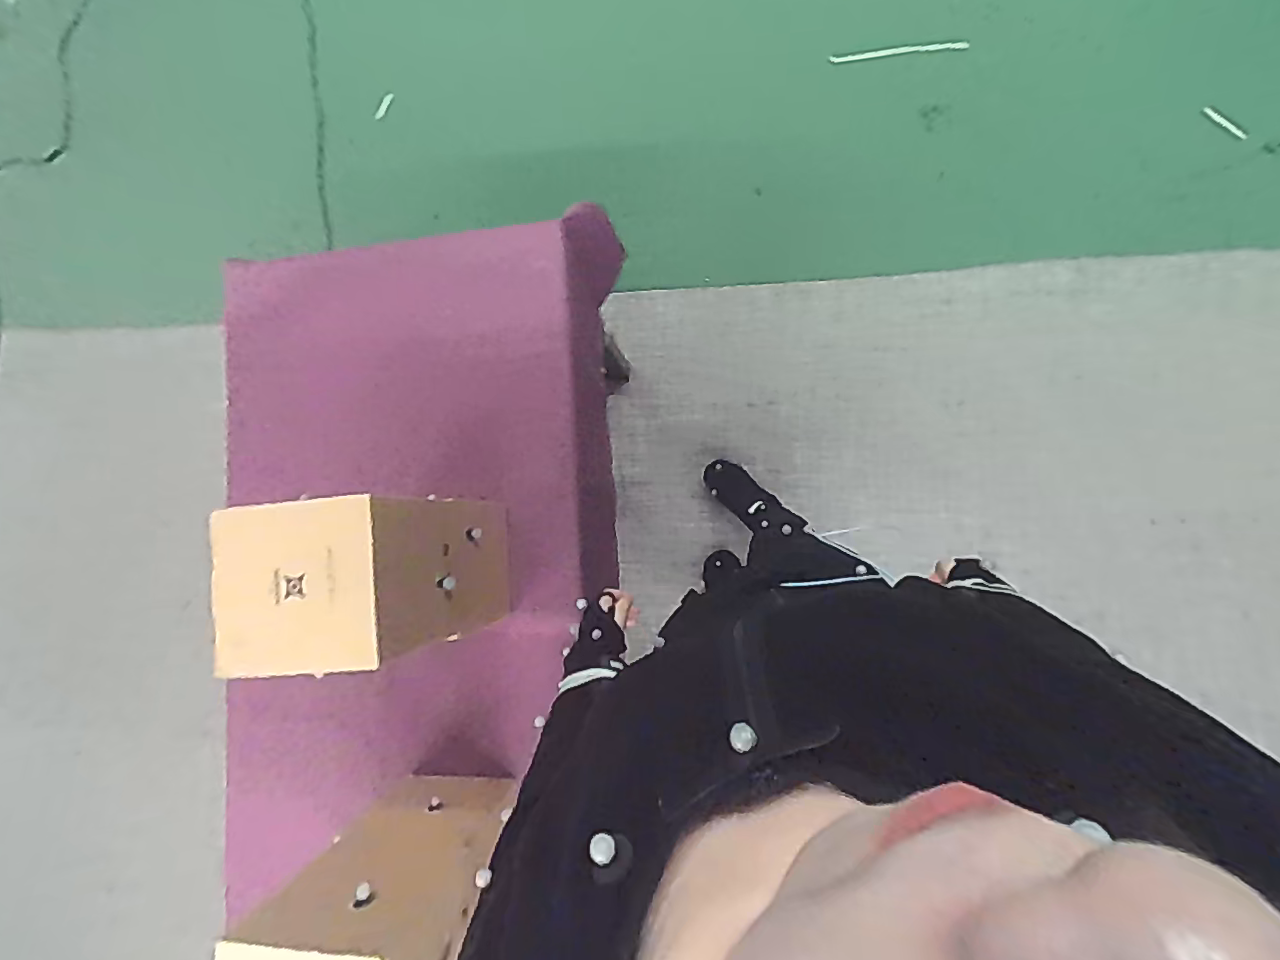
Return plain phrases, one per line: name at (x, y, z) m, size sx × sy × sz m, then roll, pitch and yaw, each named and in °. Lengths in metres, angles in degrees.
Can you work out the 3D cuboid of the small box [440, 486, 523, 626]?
small box at (-0.274, 0.104, 0.769) m, size 0.168 × 0.176 × 0.179 m, roll -1°, pitch 85°, yaw 10°
